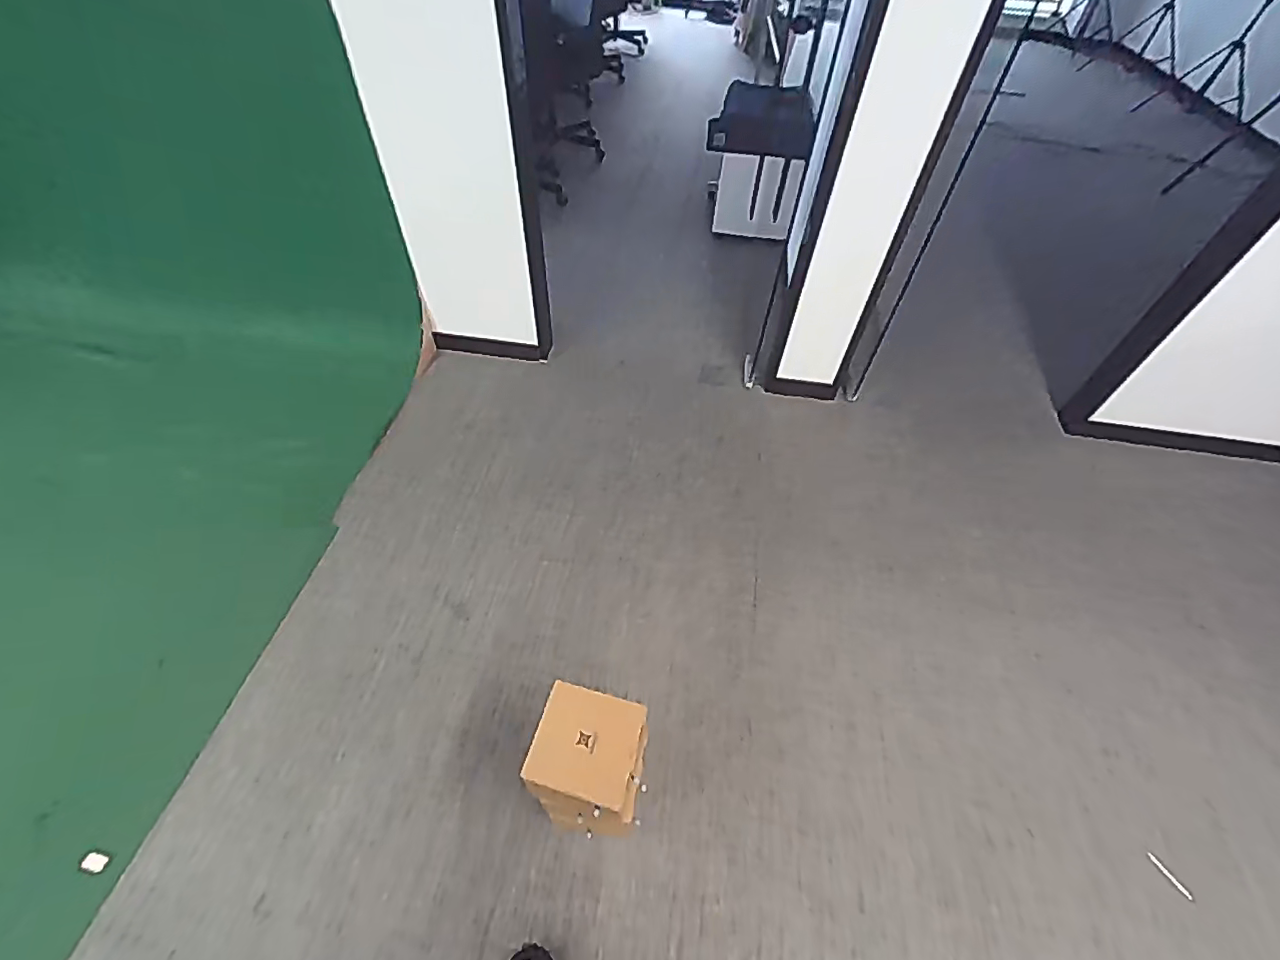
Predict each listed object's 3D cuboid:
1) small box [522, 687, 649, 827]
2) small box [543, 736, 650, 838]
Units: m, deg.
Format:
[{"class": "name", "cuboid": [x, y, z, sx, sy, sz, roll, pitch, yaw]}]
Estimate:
[{"class": "small box", "cuboid": [-0.090, 0.503, 0.975, 0.179, 0.176, 0.168, 14, 51, 8]}, {"class": "small box", "cuboid": [-0.082, 0.608, 1.100, 0.179, 0.176, 0.168, 11, 52, 7]}]
